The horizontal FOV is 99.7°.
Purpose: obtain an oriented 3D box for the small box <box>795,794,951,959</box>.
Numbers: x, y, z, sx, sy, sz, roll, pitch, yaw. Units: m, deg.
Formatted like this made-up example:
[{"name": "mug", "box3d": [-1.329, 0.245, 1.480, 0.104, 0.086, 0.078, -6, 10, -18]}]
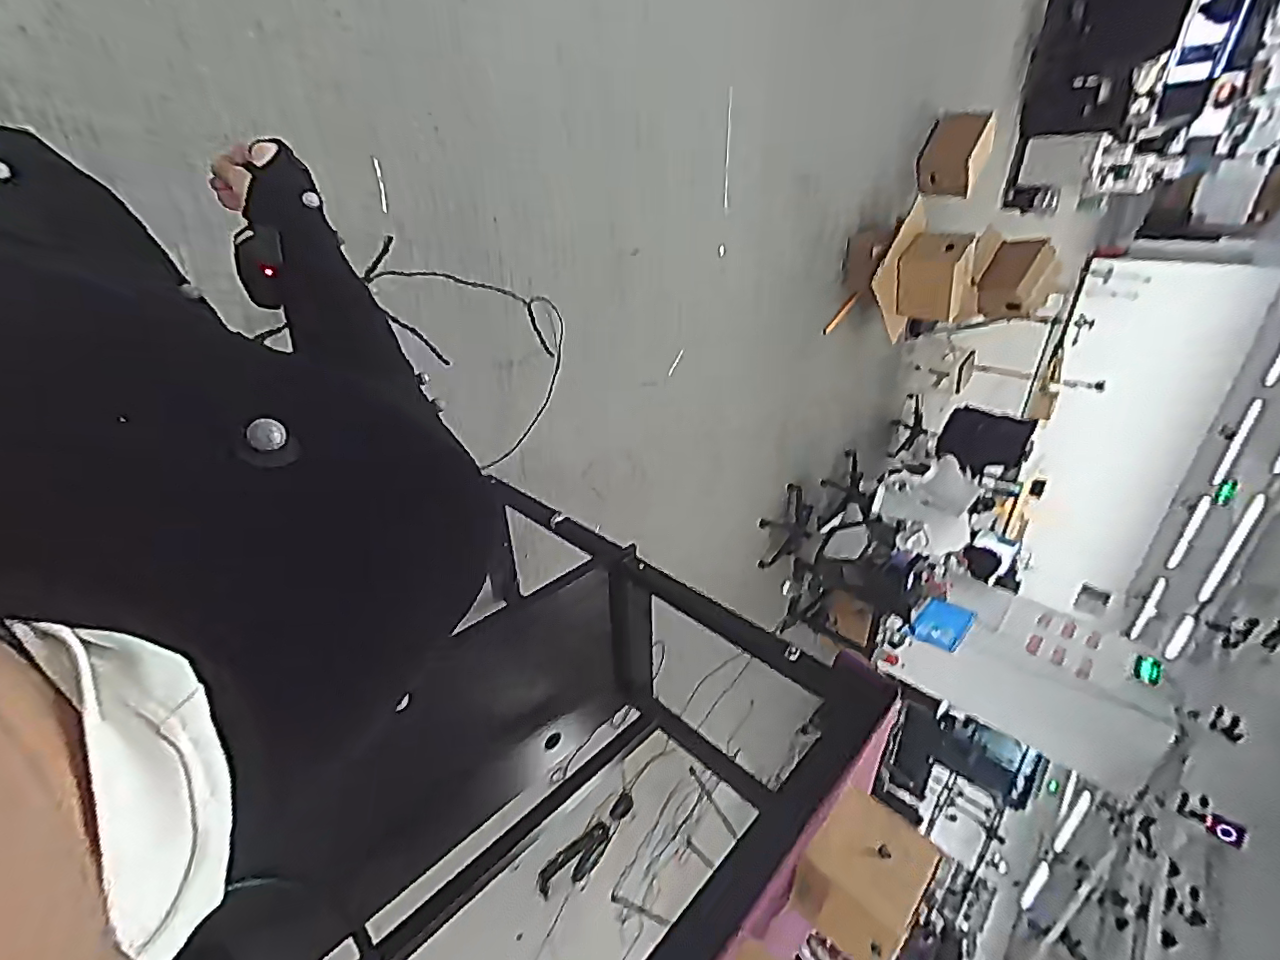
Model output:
[{"name": "small box", "box3d": [0.382, 0.677, 0.901, 0.179, 0.176, 0.168, -28, 128, -38]}]
